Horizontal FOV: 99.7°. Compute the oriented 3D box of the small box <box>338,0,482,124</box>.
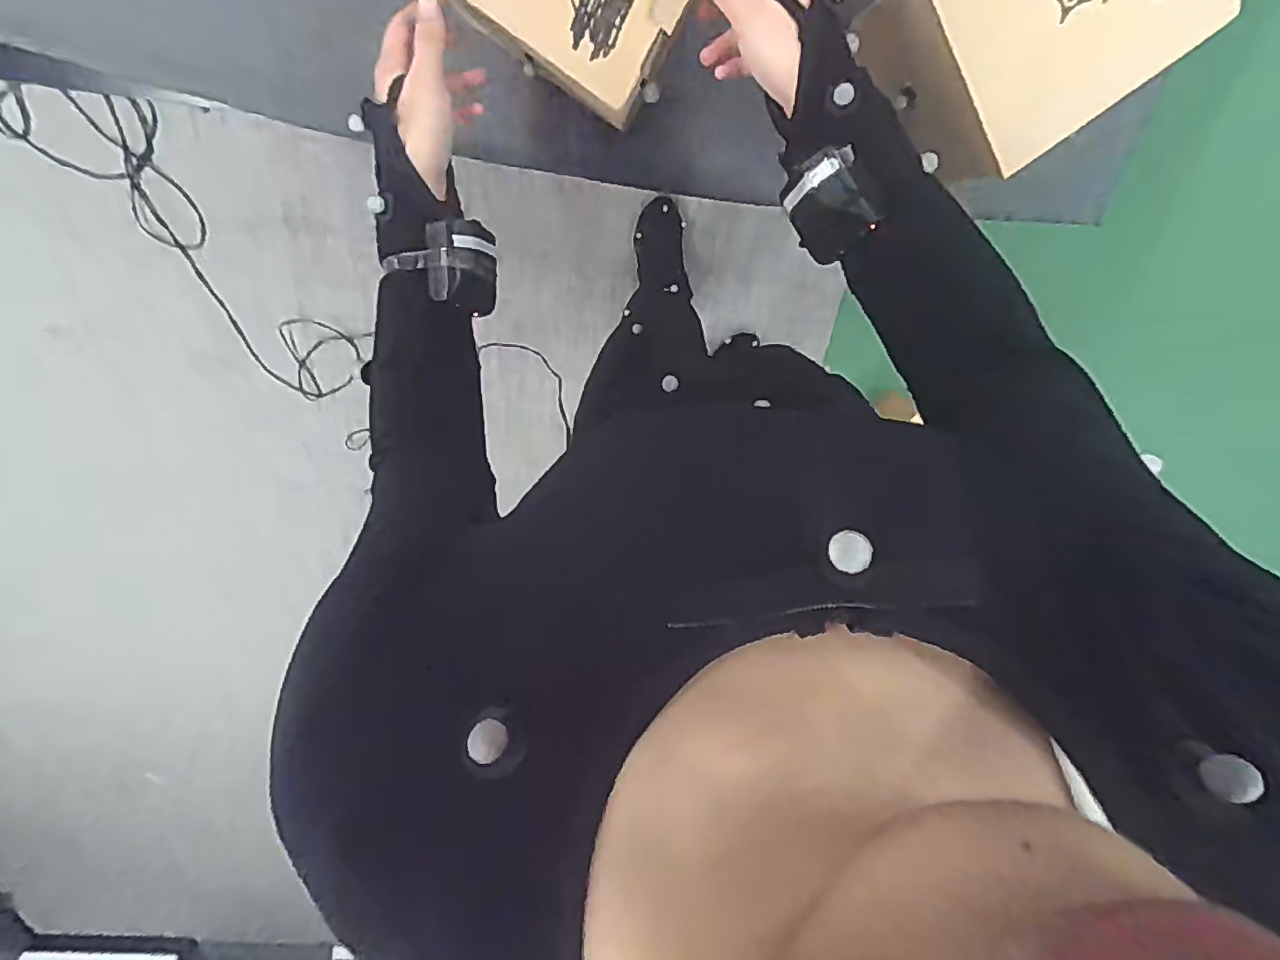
[{"bbox_3d":[-0.424,-0.815,1.026,0.168,0.176,0.179,36,112,-19],"label":"small box"}]

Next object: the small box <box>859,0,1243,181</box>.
[{"bbox_3d":[0.307,-0.375,0.446,0.179,0.176,0.168,-34,112,16],"label":"small box"}]

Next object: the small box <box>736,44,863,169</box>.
[{"bbox_3d":[0.306,-0.734,1.083,0.179,0.176,0.168,10,119,-7],"label":"small box"}]

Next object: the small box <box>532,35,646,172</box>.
[{"bbox_3d":[-0.098,-0.736,1.076,0.179,0.176,0.168,19,116,-9],"label":"small box"}]

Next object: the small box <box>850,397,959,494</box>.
[{"bbox_3d":[0.698,-0.101,1.448,0.179,0.176,0.168,37,112,-19],"label":"small box"}]
